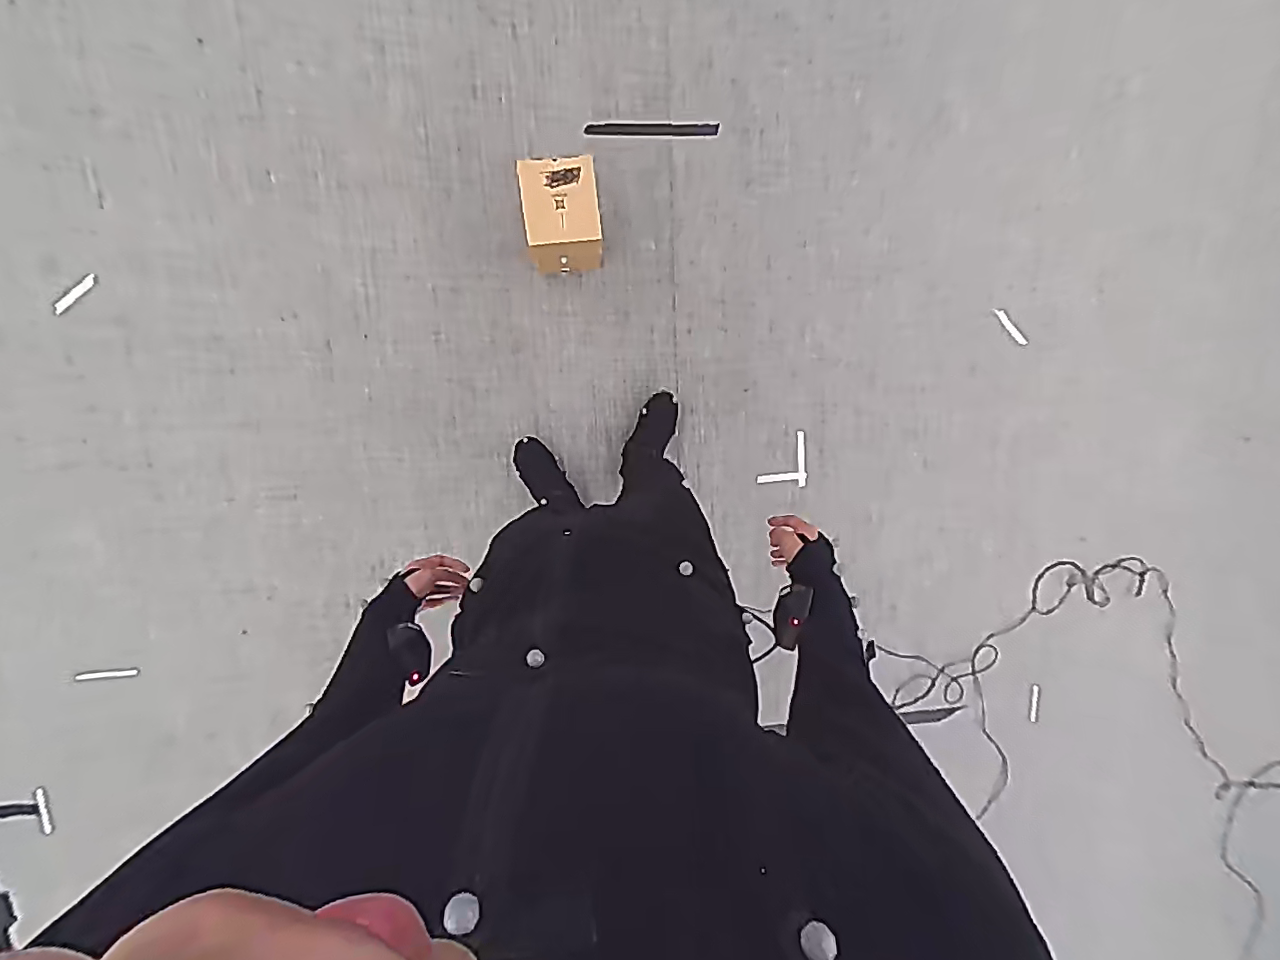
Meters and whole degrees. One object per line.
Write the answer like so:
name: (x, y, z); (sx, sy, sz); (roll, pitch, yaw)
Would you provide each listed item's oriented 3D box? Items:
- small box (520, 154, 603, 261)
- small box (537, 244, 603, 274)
small box: (-0.180, -0.622, 1.249); (0.168, 0.176, 0.179); (-7, 101, -6)
small box: (-0.195, -0.653, 1.410); (0.168, 0.176, 0.179); (-9, 100, -6)
